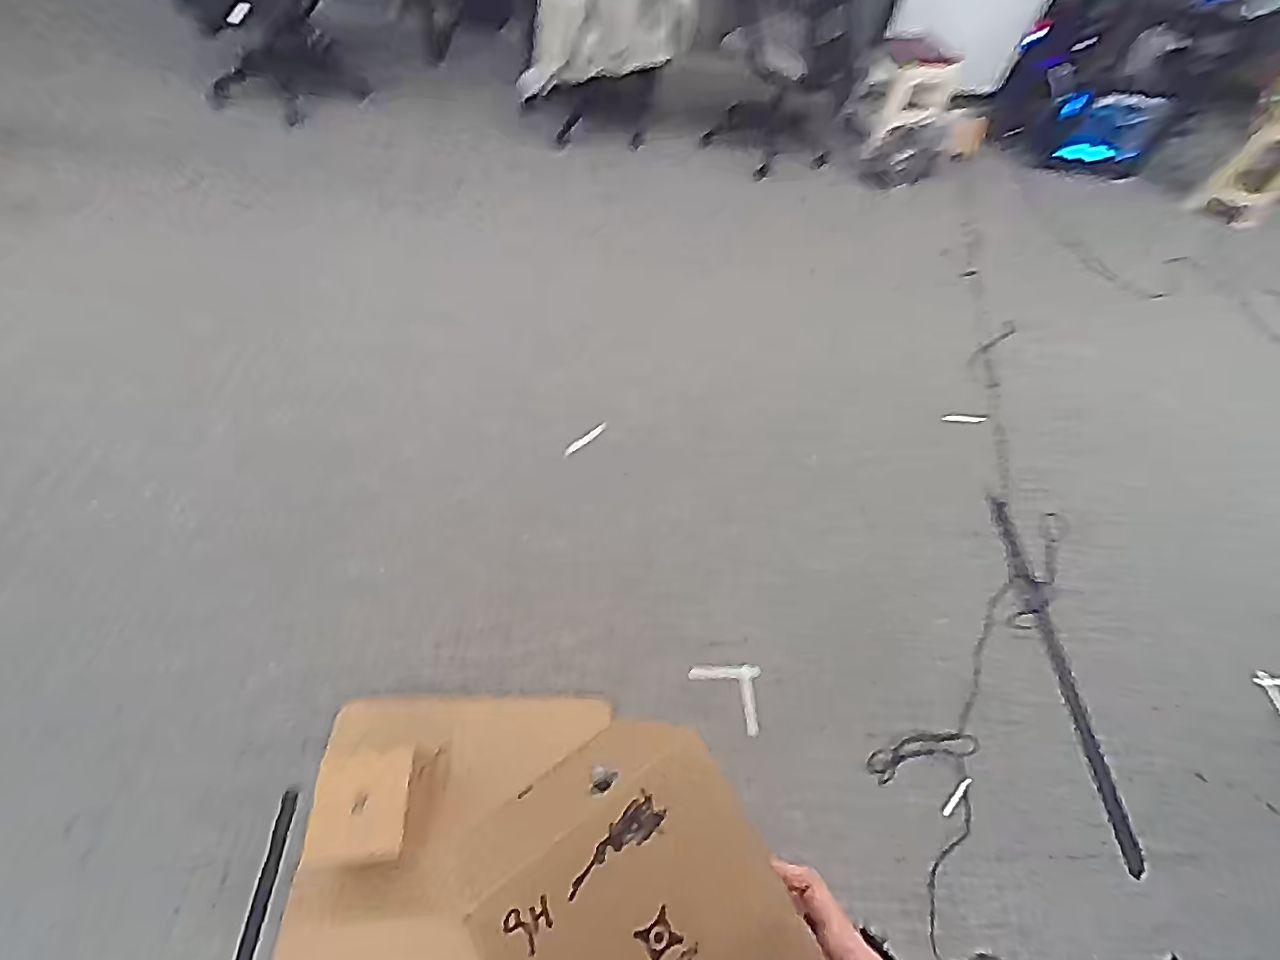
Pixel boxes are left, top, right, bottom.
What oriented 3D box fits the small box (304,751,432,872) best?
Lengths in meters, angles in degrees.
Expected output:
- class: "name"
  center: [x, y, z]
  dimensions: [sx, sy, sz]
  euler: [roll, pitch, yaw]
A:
- class: "small box"
  center: [-0.509, 0.638, 1.043]
  dimensions: [0.168, 0.176, 0.179]
  euler: [-3, 58, -7]
